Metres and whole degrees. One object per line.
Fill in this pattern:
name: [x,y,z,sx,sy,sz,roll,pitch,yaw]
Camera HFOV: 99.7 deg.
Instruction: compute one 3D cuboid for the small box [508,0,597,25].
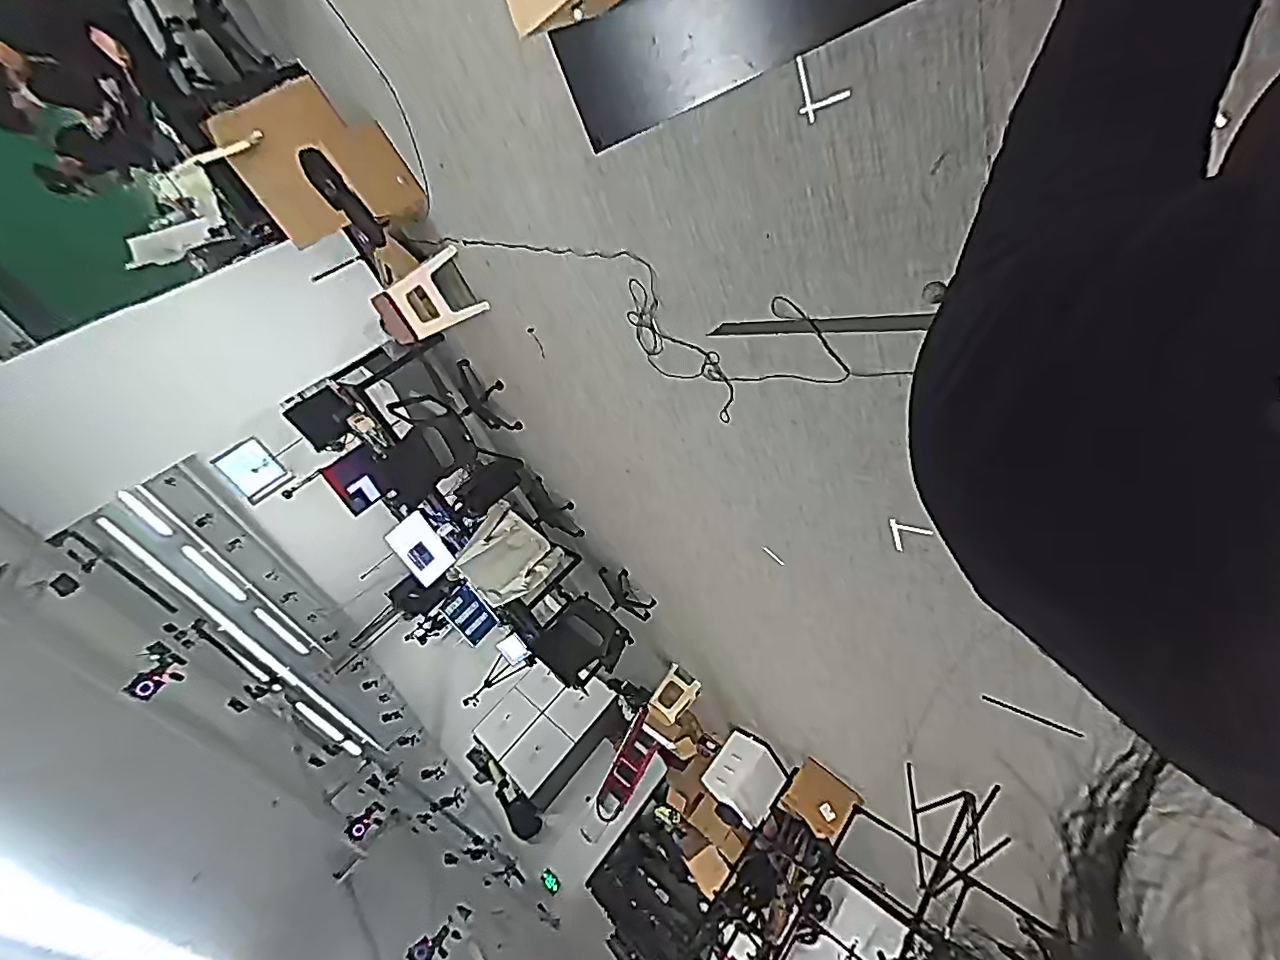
small box: [-0.078,-0.689,0.640,0.179,0.176,0.168,13,139,46]
